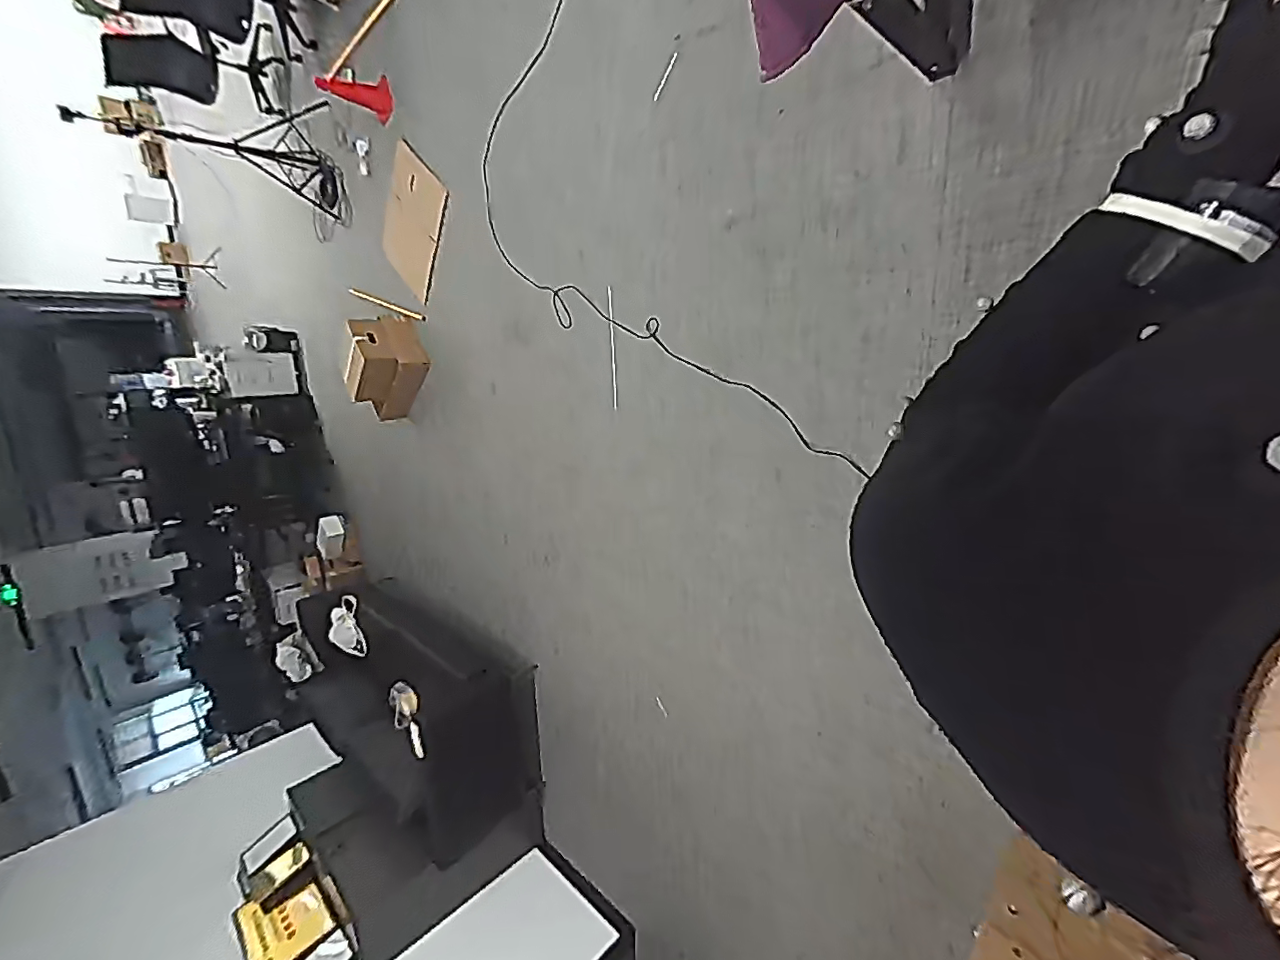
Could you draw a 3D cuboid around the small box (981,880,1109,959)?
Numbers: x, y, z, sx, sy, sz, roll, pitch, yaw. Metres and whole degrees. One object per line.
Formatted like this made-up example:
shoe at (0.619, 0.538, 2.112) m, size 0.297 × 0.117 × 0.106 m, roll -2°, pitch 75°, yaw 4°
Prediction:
small box at (0.810, 0.962, 1.088) m, size 0.179 × 0.176 × 0.168 m, roll 12°, pitch 111°, yaw 43°
